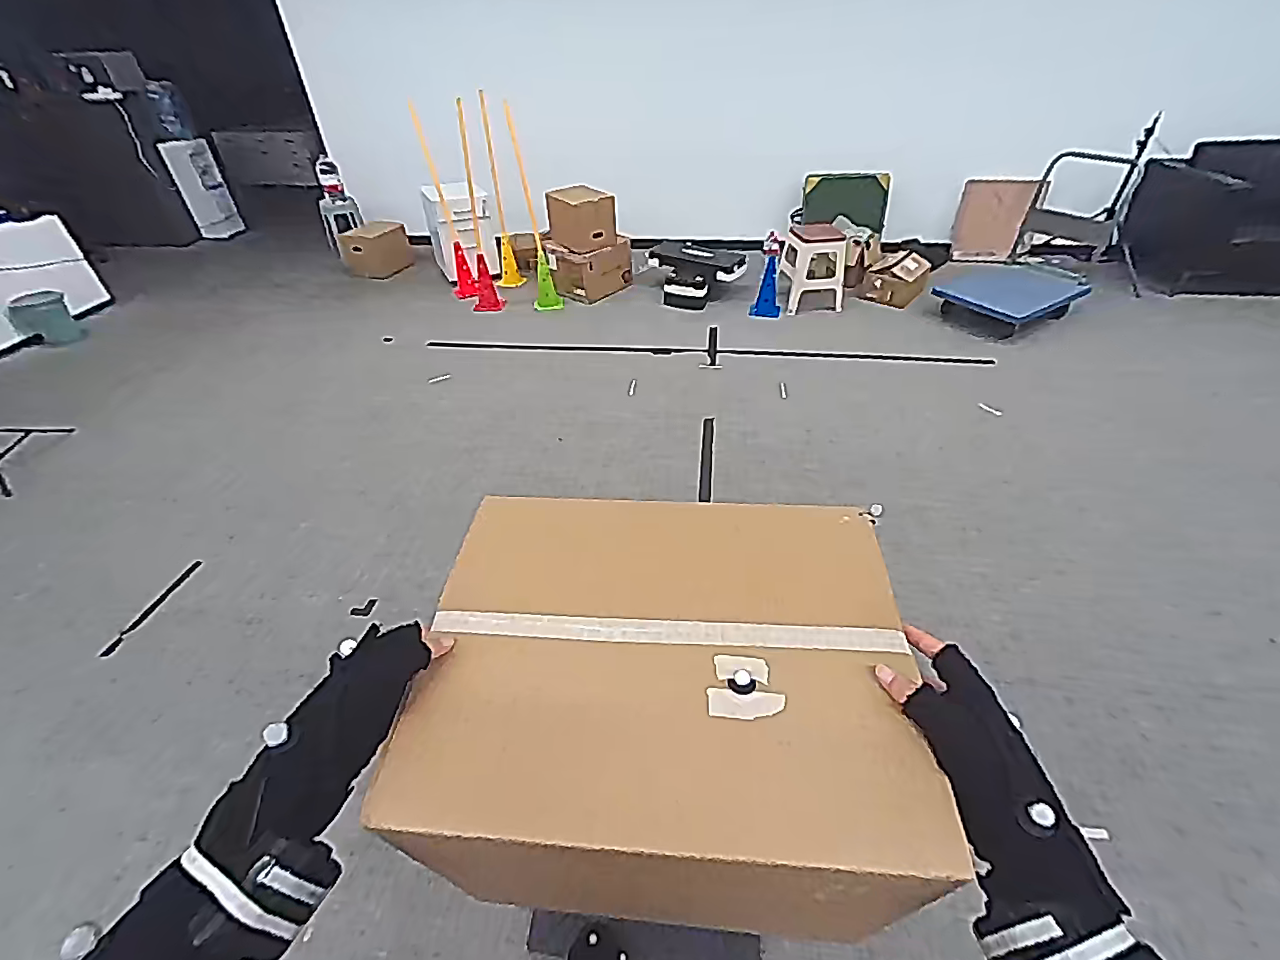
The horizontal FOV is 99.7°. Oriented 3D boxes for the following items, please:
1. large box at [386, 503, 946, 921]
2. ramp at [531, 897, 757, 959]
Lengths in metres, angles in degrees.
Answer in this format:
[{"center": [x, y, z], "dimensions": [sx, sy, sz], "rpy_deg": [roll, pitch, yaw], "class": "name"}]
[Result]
[{"center": [0.026, 0.243, 0.585], "dimensions": [0.408, 0.320, 0.320], "rpy_deg": [2, 45, 5], "class": "large box"}, {"center": [0.056, 0.618, 1.456], "dimensions": [0.509, 0.206, 0.991], "rpy_deg": [3, 41, 3], "class": "ramp"}]
